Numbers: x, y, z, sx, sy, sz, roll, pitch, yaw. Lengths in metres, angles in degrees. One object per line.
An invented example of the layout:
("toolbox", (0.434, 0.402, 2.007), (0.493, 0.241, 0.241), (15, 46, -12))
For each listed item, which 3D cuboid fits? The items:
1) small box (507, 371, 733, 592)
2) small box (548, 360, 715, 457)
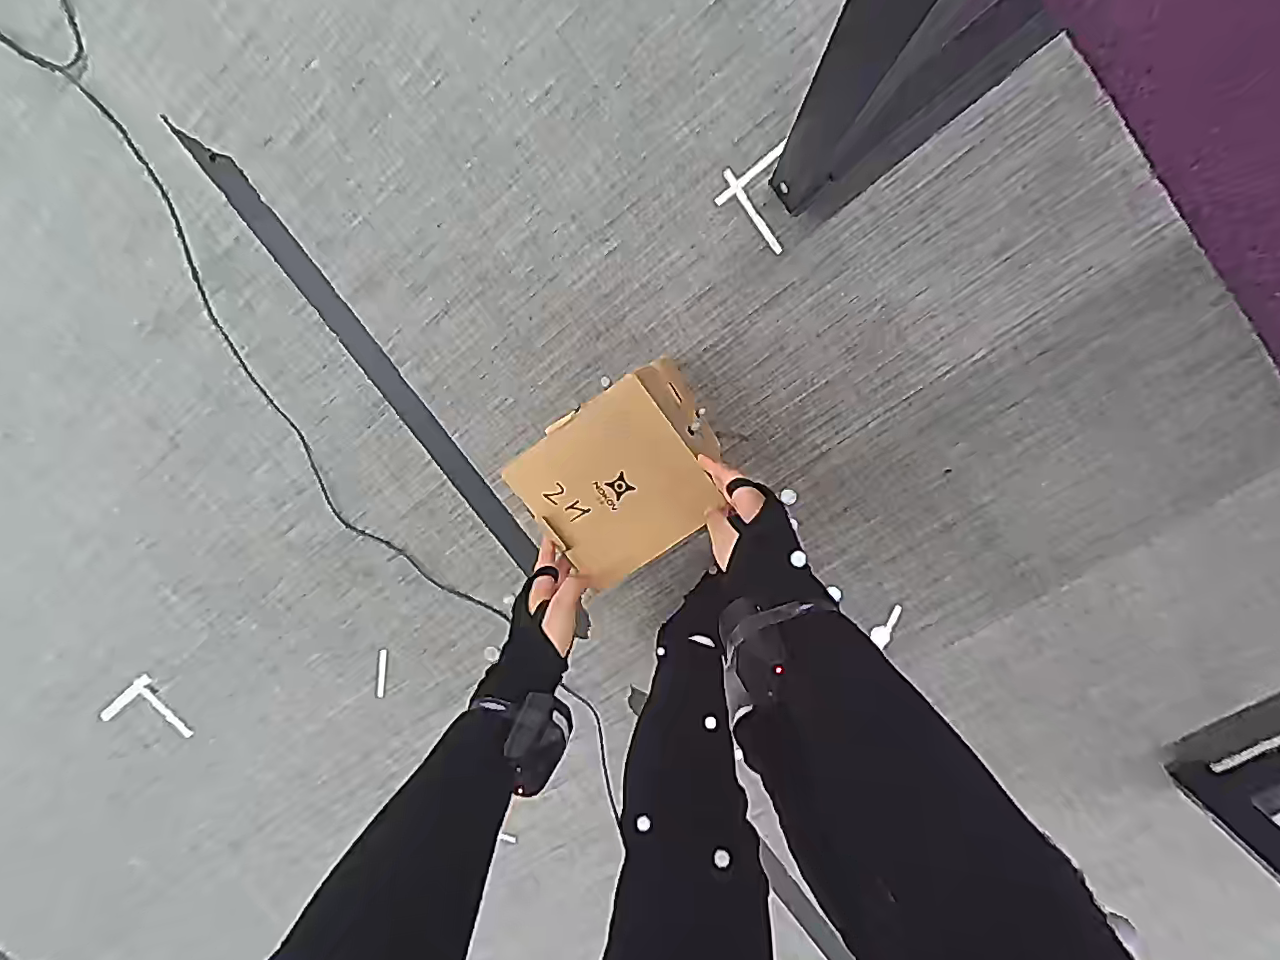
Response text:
("small box", (-0.015, -0.011, 0.621), (0.179, 0.176, 0.168), (-35, 98, 13))
("small box", (0.000, -0.058, 0.779), (0.179, 0.176, 0.168), (-30, 99, 12))
